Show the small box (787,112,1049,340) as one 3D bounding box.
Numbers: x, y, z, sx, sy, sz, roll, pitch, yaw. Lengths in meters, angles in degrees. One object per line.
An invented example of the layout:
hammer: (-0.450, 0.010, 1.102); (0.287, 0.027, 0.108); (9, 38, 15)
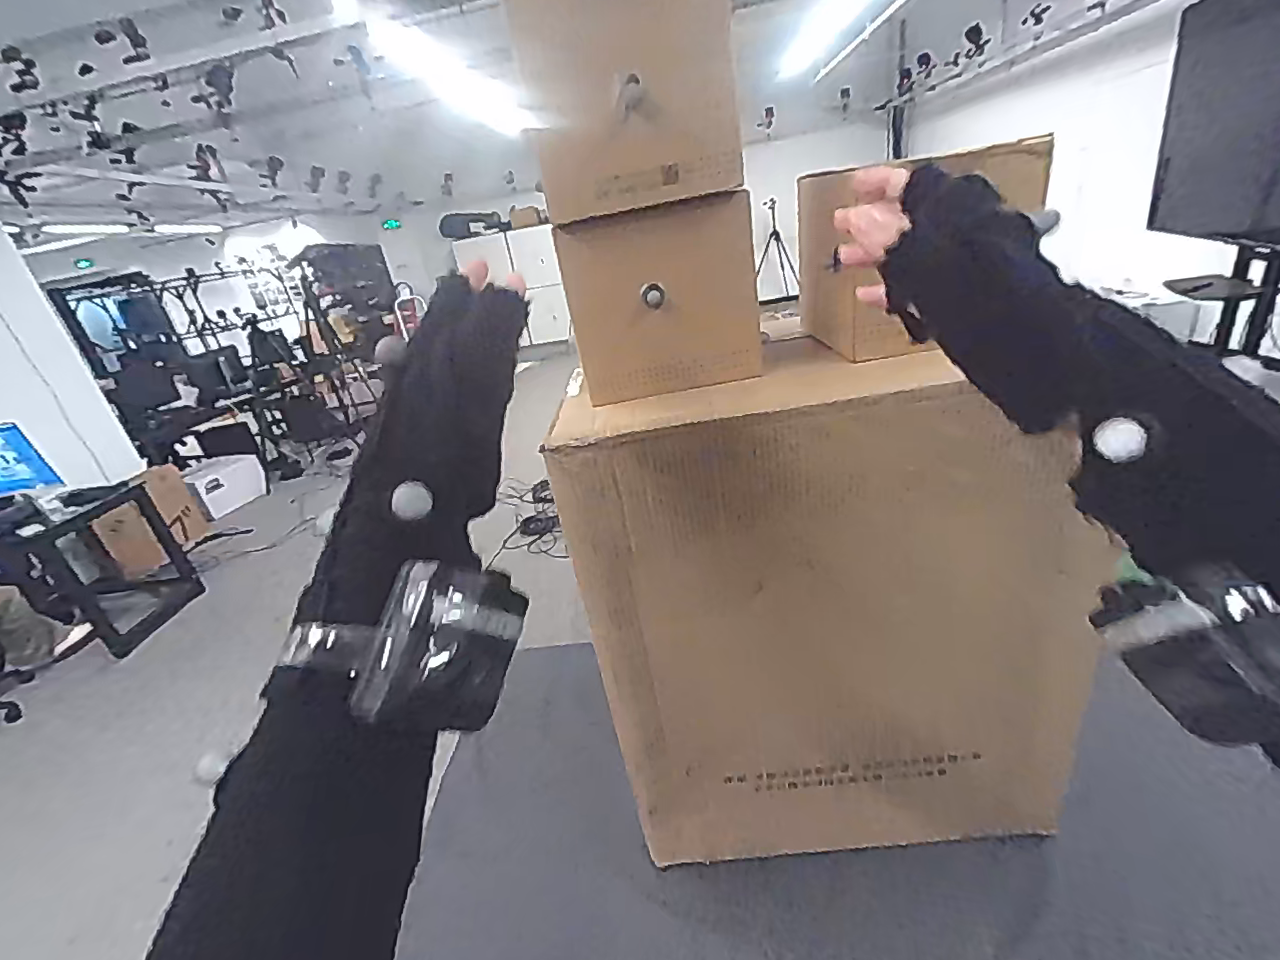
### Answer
small box: (0.260, -0.249, 0.549); (0.168, 0.176, 0.179); (-11, 28, -1)

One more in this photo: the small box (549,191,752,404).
small box: (0.018, -0.196, 0.574); (0.179, 0.176, 0.168); (-11, 27, 3)

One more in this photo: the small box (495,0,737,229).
small box: (-0.013, -0.334, 0.492); (0.168, 0.176, 0.179); (-10, 27, 3)
